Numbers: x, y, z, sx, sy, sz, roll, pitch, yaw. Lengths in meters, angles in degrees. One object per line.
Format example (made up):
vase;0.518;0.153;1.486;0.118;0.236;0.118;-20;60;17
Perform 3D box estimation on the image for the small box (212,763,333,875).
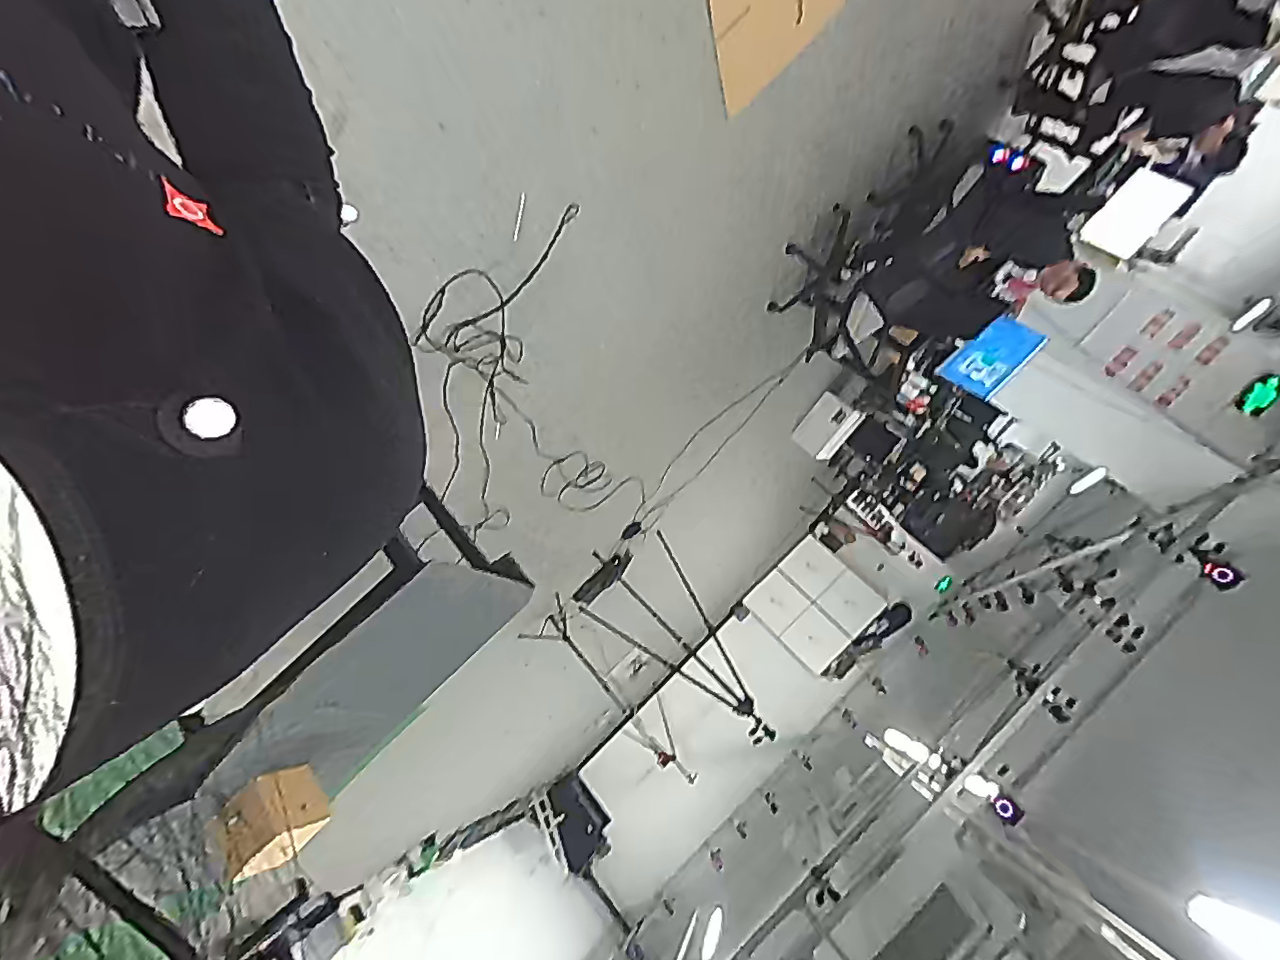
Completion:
small box;-0.965;0.876;1.423;0.168;0.176;0.179;-45;157;-2
